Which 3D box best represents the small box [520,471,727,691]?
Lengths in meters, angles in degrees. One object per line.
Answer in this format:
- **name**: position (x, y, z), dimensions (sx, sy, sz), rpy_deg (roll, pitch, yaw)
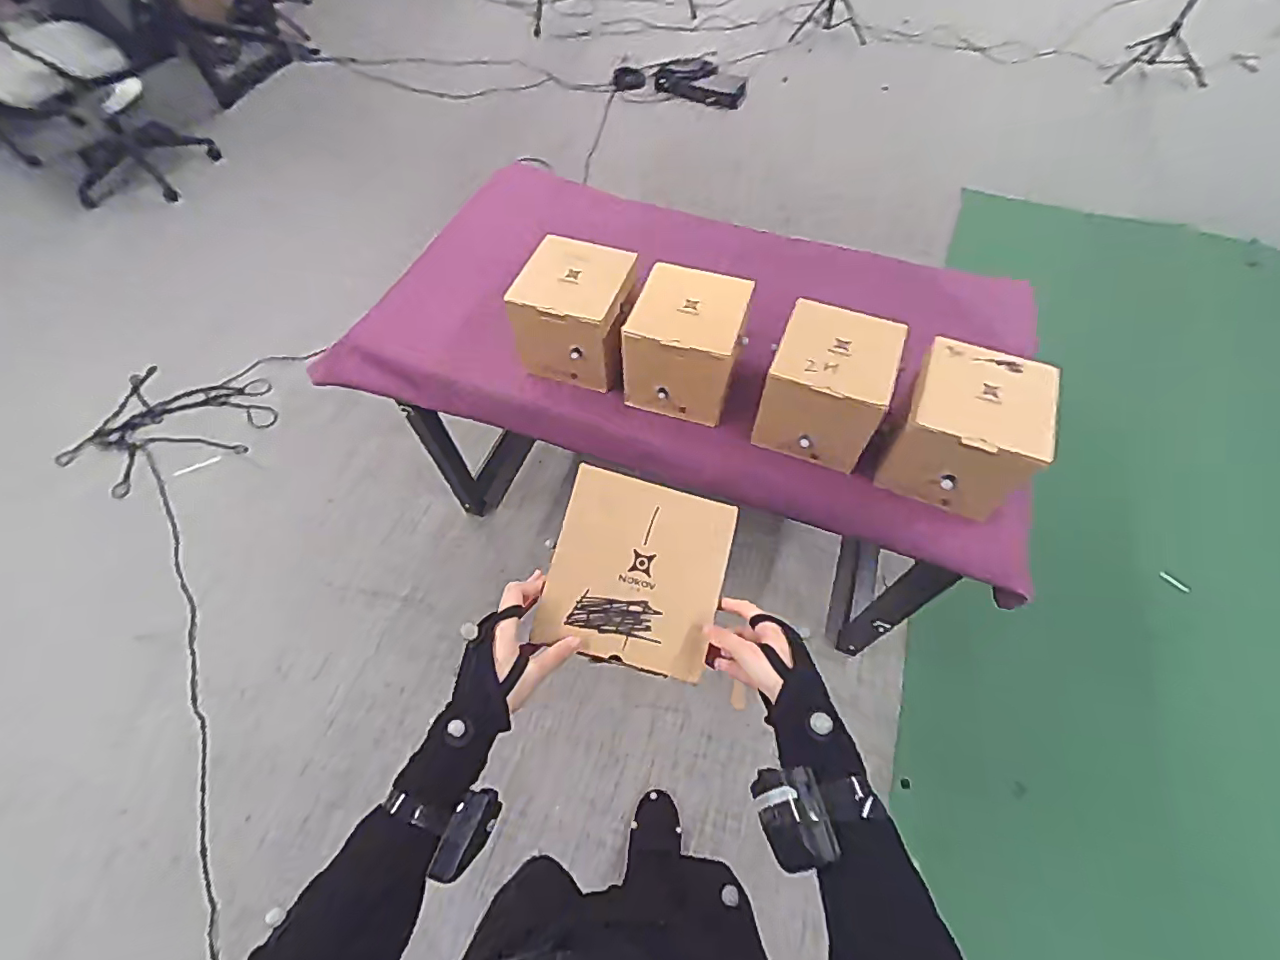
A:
- **small box**: position (-0.019, 0.109, 0.590), dimensions (0.168, 0.176, 0.179), rpy_deg (15, 77, -3)
